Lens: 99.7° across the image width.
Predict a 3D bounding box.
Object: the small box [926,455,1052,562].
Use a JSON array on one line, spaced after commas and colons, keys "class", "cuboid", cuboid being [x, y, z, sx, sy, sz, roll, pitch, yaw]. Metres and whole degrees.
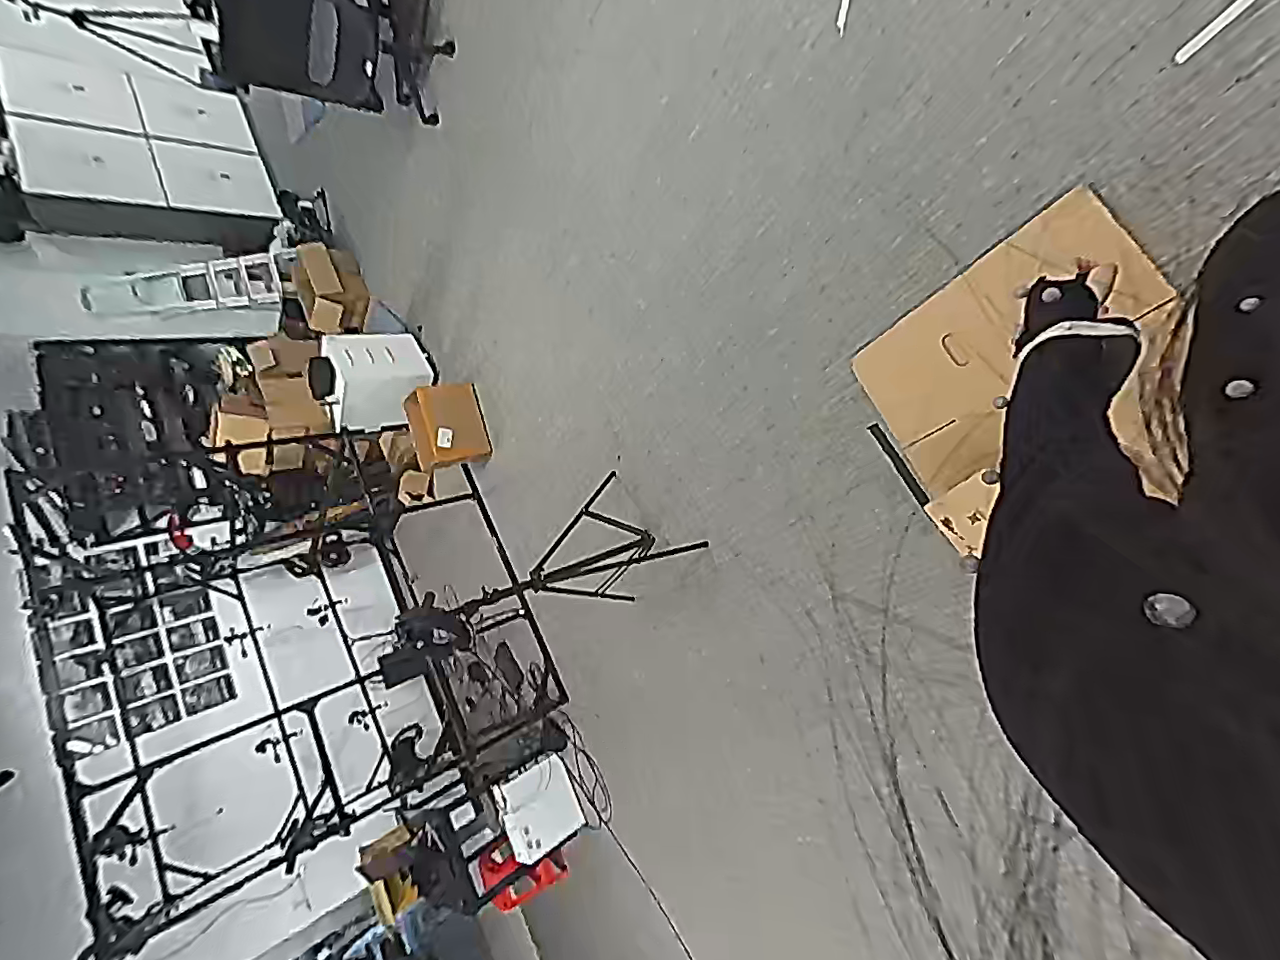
[{"class": "small box", "cuboid": [0.824, 0.061, 1.269, 0.168, 0.176, 0.179, 58, 136, 18]}]
